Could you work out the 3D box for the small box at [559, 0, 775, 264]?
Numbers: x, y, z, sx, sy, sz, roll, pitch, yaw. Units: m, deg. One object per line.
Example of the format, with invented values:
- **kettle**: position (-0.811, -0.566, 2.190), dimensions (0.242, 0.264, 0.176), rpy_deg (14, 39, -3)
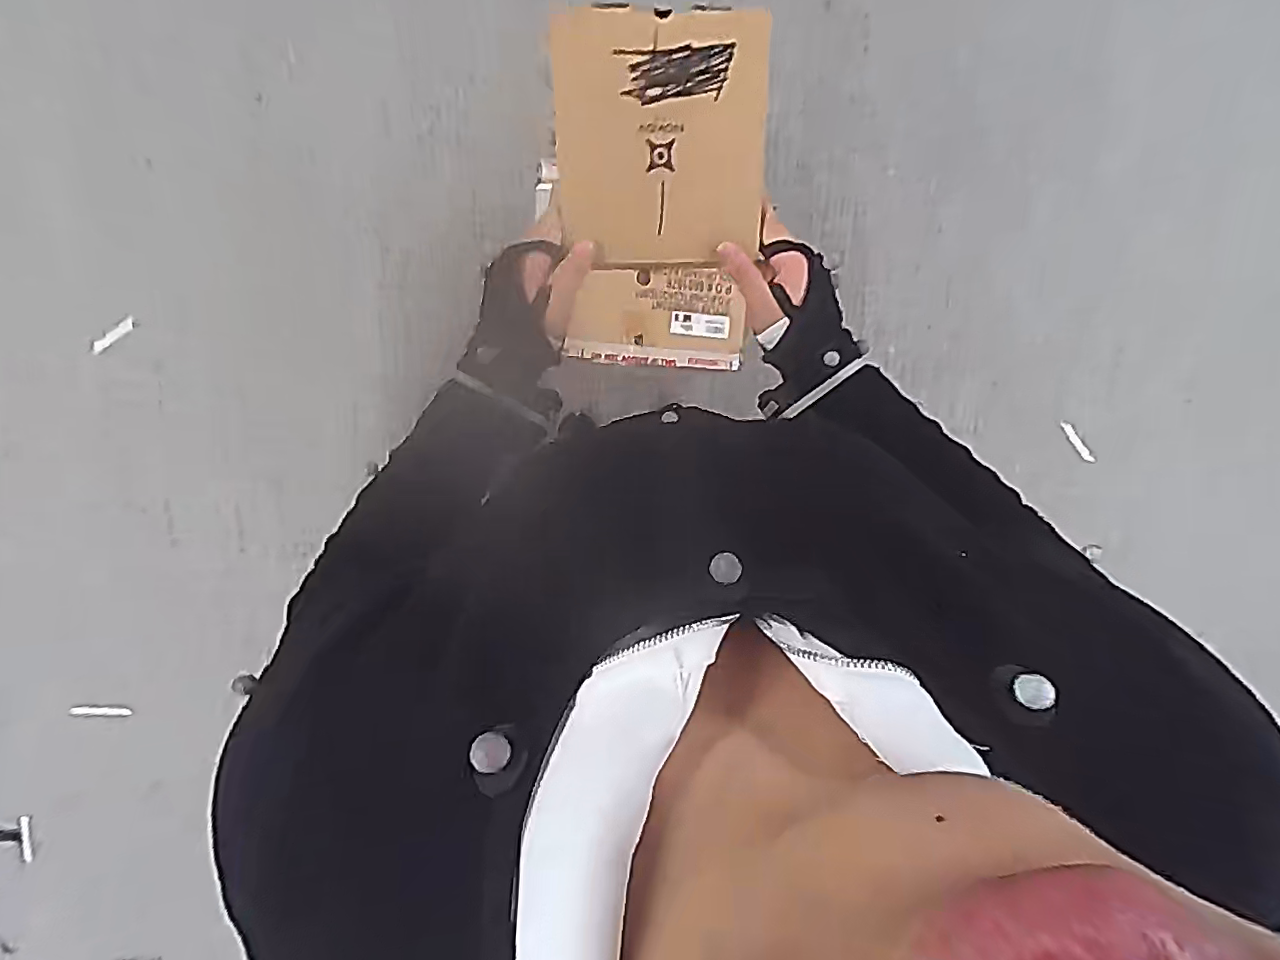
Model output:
- **small box**: position (0.014, -0.298, 0.498), dimensions (0.168, 0.176, 0.179), rpy_deg (-2, 110, -4)
